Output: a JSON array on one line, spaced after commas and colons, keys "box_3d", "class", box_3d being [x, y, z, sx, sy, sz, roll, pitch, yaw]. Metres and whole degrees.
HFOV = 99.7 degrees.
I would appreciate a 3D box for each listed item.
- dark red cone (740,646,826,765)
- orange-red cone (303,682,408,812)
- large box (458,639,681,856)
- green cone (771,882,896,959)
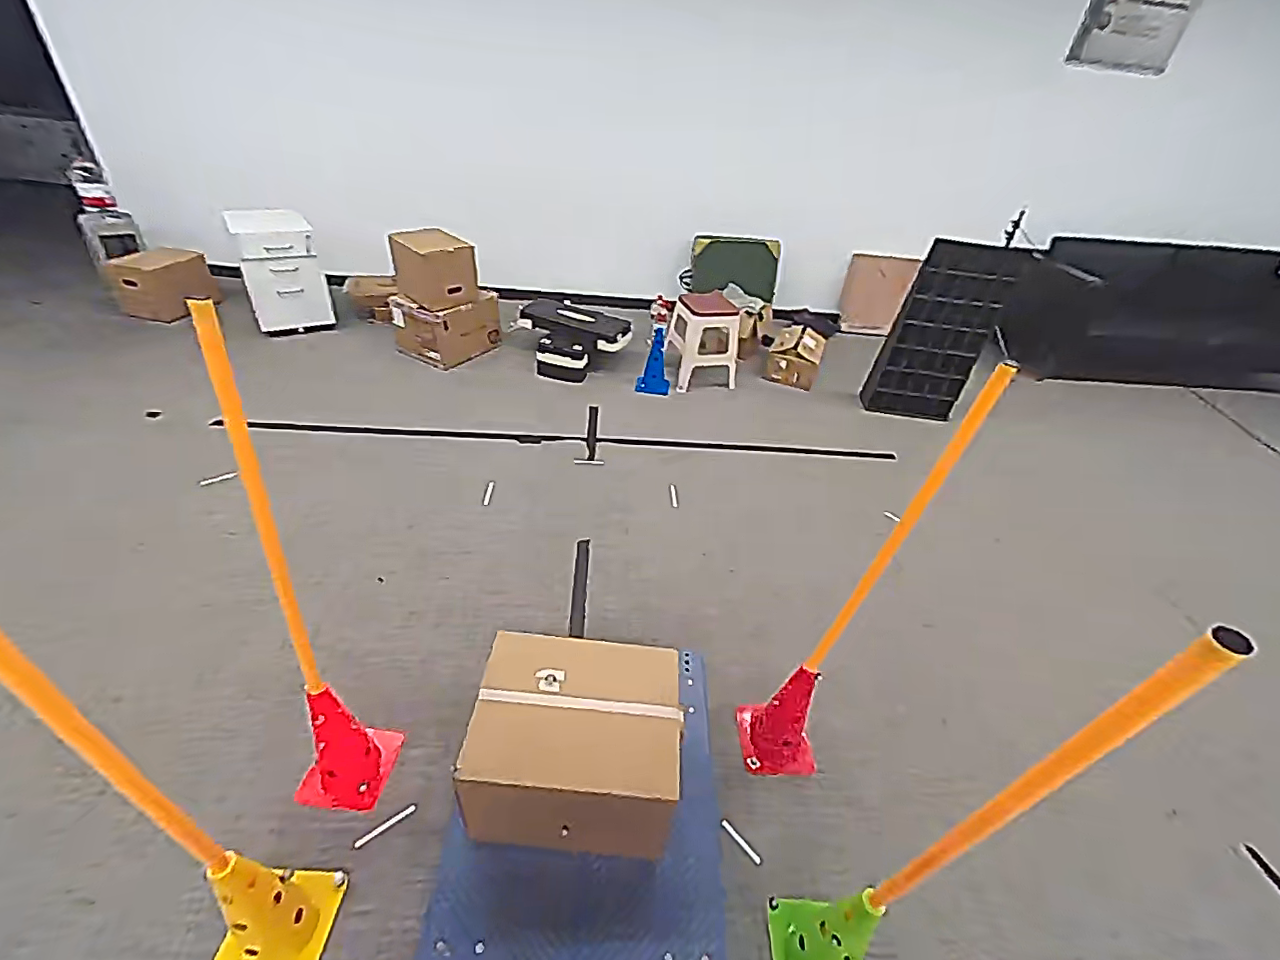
[{"box_3d": [0.415, 0.581, 1.445, 0.201, 0.394, 0.202, 4, 37, -6], "class": "dark red cone"}, {"box_3d": [-0.709, 0.600, 1.293, 0.198, 0.360, 0.199, 8, 35, 1], "class": "orange-red cone"}, {"box_3d": [-0.128, 0.576, 1.167, 0.408, 0.320, 0.320, 5, 38, 0], "class": "large box"}, {"box_3d": [0.412, 0.886, 1.067, 0.202, 0.368, 0.200, 6, 37, -2], "class": "green cone"}]
